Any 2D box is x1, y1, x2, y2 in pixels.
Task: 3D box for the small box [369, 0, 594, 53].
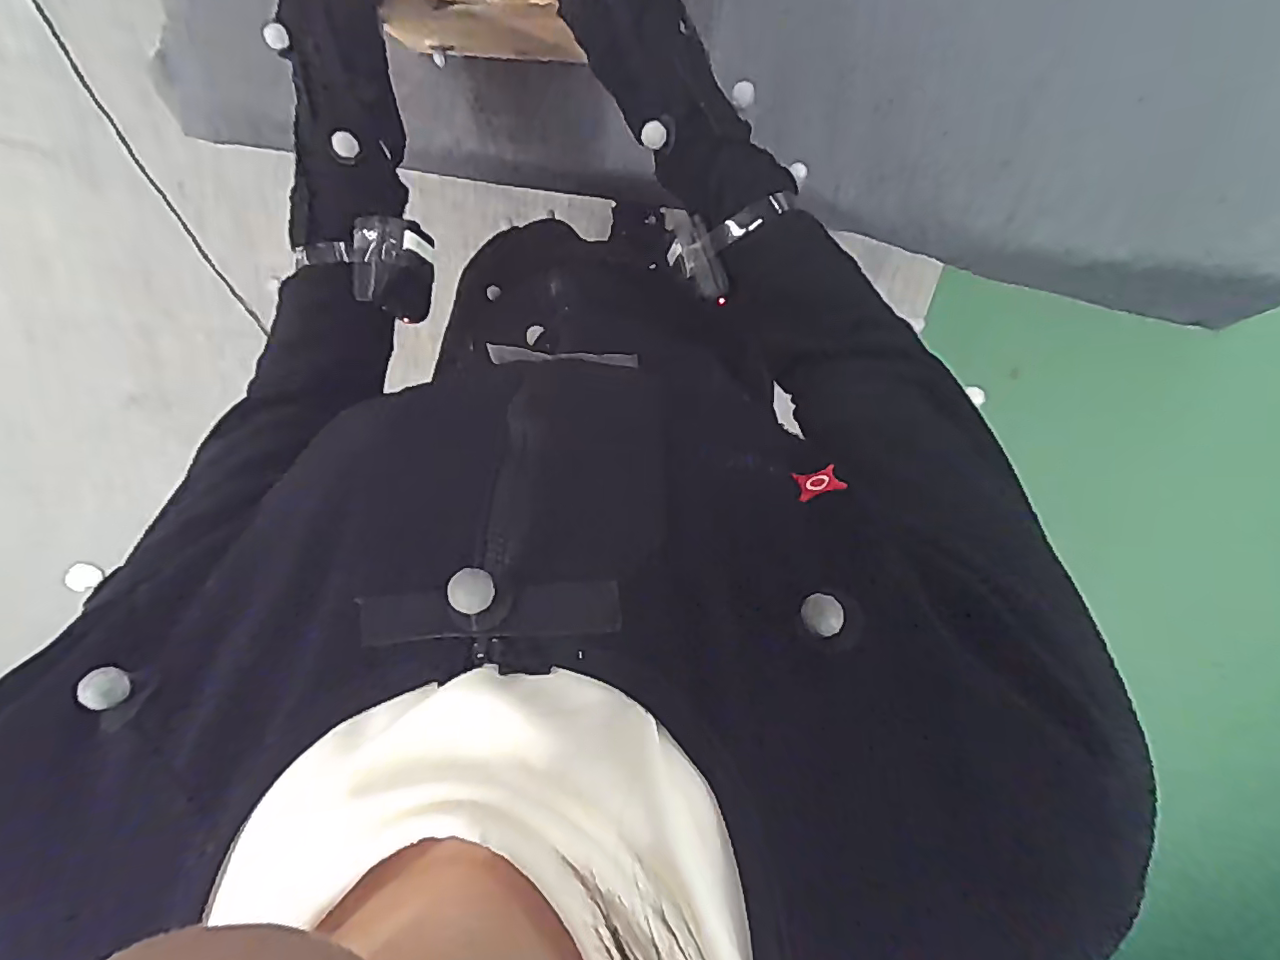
[{"bbox_3d":[-0.120,-0.441,0.395,0.168,0.176,0.179,2,116,-2],"label":"small box"}]
